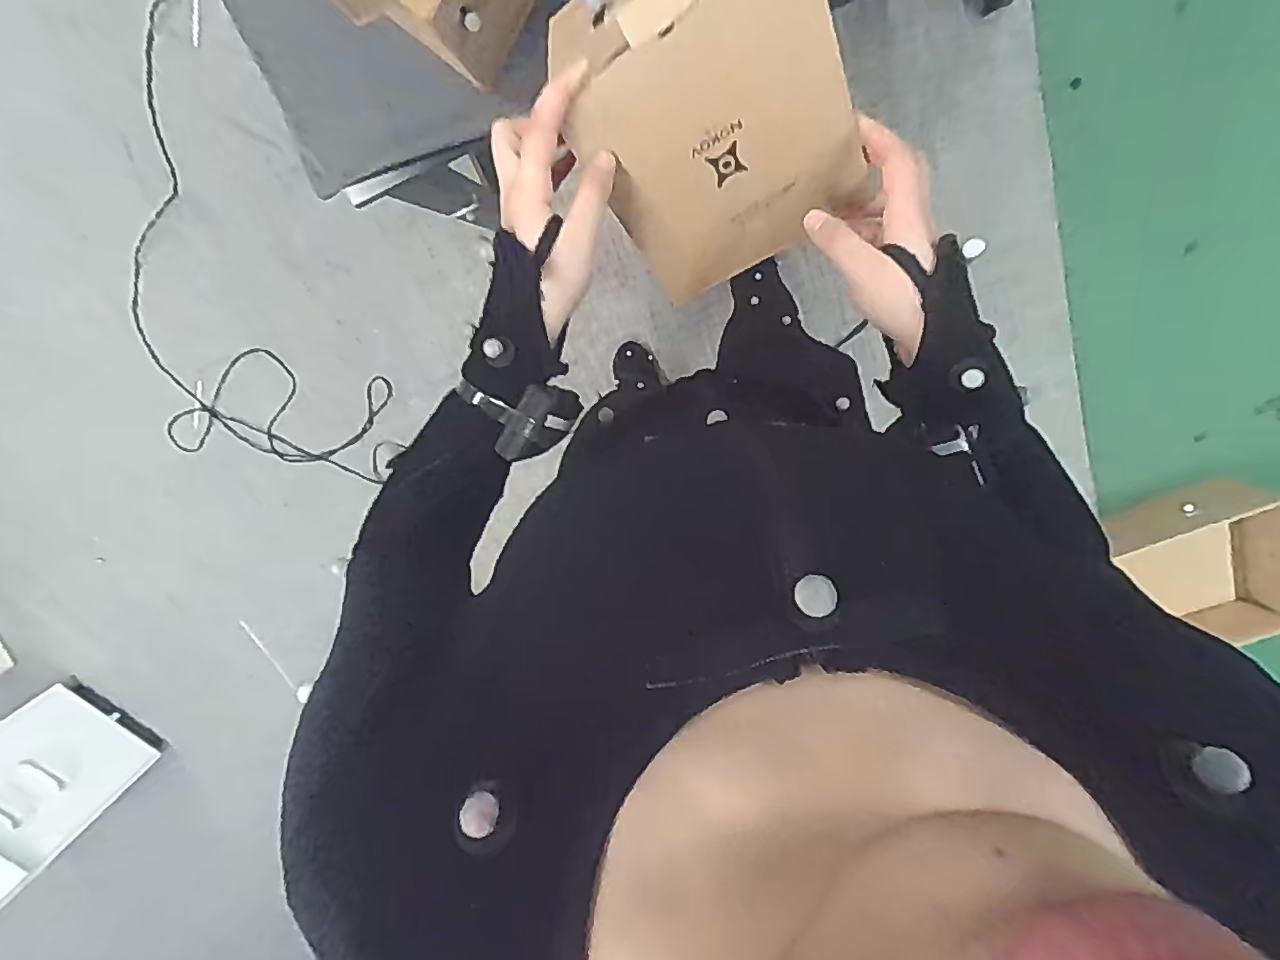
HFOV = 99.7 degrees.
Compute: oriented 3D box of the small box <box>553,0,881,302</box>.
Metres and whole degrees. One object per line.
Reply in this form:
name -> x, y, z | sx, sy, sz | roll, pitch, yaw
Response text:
small box -> 0.052, -0.280, 0.405 | 0.168, 0.176, 0.179 | -24, 140, 25
